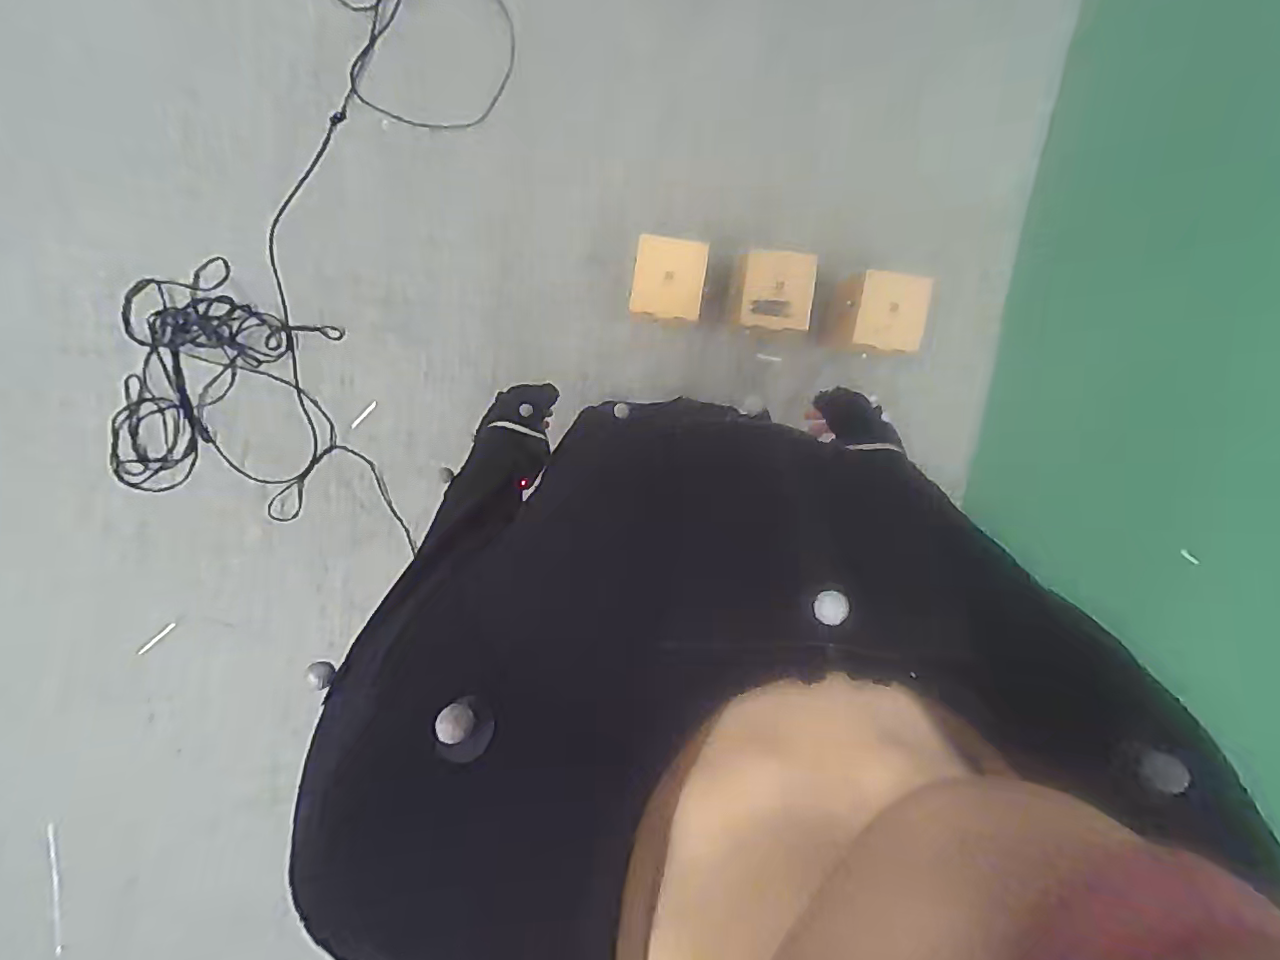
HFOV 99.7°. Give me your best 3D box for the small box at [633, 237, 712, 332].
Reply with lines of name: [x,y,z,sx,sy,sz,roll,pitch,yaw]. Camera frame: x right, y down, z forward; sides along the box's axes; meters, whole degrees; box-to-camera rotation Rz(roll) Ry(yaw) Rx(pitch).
small box: [0.073,-0.477,1.341,0.168,0.176,0.179,9,98,-2]

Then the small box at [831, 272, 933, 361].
small box: [0.598,-0.403,1.360,0.168,0.176,0.179,8,98,-2]
